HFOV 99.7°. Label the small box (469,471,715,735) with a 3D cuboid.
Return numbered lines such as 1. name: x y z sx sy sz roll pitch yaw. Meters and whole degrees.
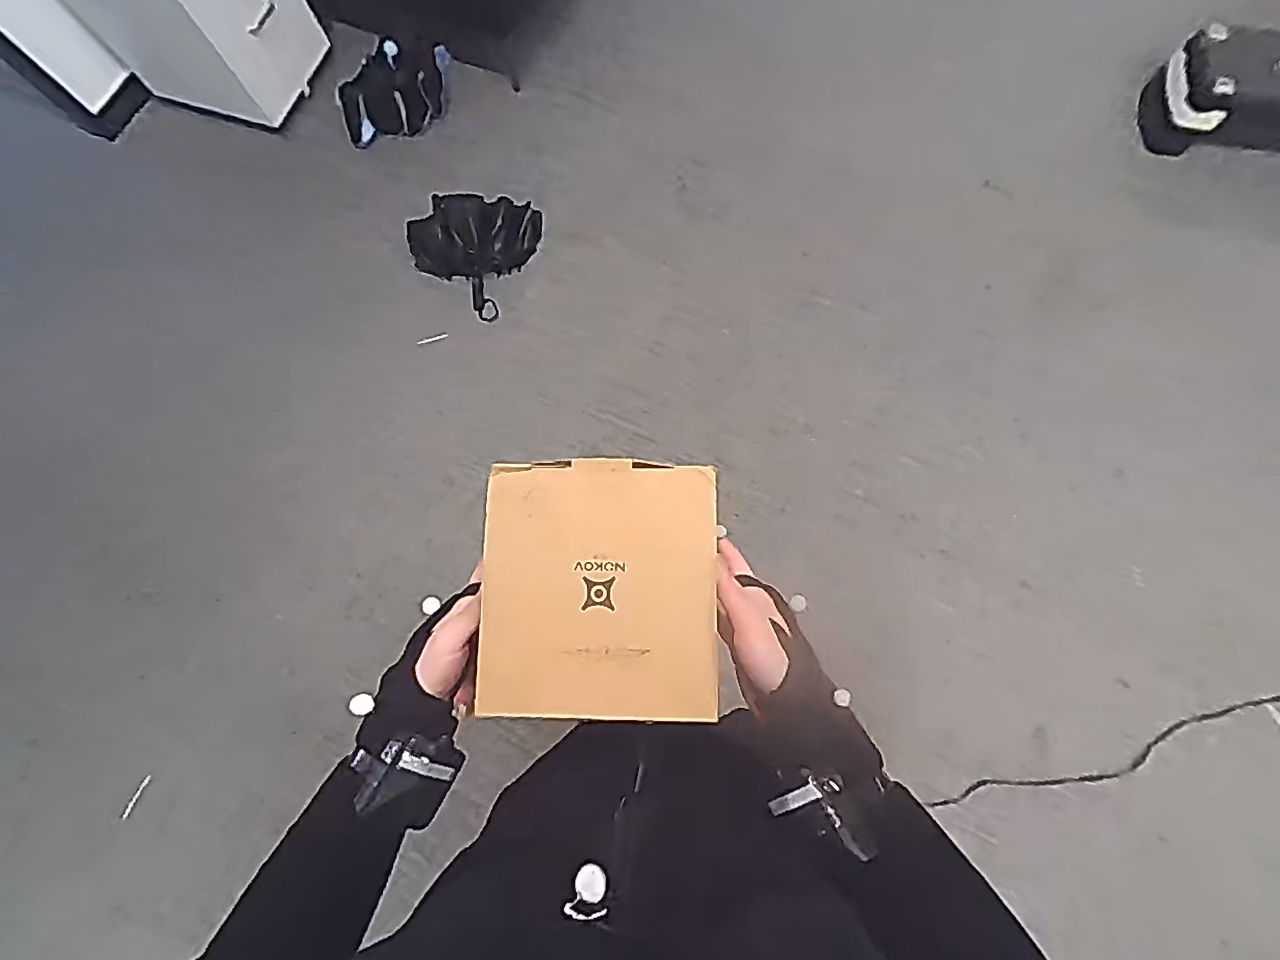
1. small box: -0.029 0.094 0.453 0.168 0.176 0.179 1 82 3
